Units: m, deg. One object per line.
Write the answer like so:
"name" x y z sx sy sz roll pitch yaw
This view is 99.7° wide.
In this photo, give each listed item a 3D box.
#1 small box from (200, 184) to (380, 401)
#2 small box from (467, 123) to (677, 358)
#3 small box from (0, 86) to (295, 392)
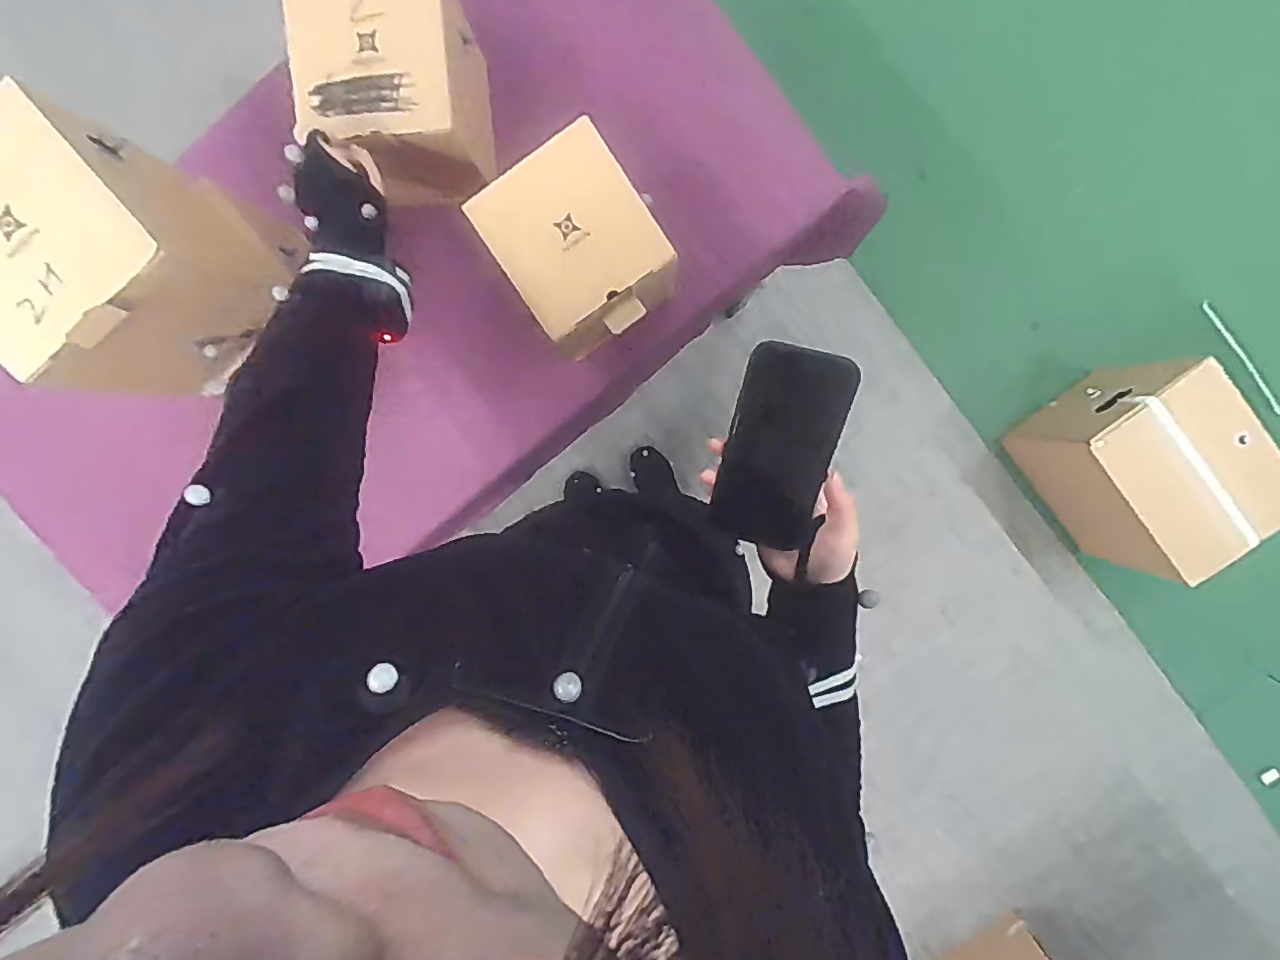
"small box" -0.470 -0.215 0.675 0.168 0.176 0.179 -39 93 4
"small box" -0.072 -0.270 0.658 0.168 0.176 0.179 -34 94 4
"small box" -0.487 -0.200 0.512 0.168 0.176 0.179 -39 93 4
